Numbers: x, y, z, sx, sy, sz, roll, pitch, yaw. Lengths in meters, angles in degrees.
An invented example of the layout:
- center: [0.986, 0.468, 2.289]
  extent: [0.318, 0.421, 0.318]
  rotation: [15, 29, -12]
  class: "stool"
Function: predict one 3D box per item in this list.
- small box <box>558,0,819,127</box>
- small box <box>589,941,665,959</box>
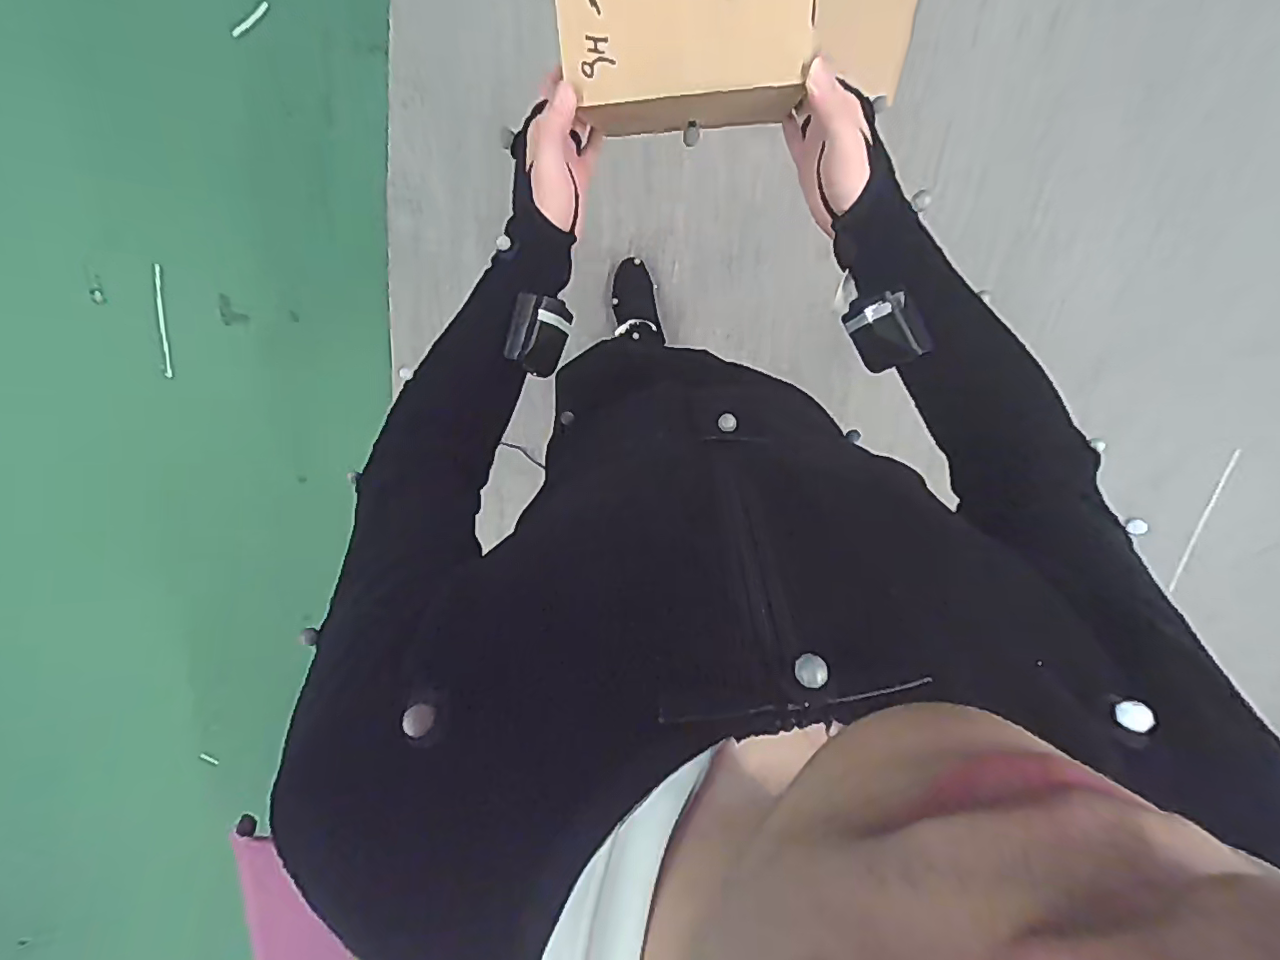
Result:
- center: [0.035, -0.386, 0.416]
  extent: [0.179, 0.176, 0.168]
  rotation: [-1, 115, 6]
  class: "small box"
- center: [-0.037, 1.173, 1.202]
  extent: [0.179, 0.176, 0.168]
  rotation: [5, 108, -1]
  class: "small box"
